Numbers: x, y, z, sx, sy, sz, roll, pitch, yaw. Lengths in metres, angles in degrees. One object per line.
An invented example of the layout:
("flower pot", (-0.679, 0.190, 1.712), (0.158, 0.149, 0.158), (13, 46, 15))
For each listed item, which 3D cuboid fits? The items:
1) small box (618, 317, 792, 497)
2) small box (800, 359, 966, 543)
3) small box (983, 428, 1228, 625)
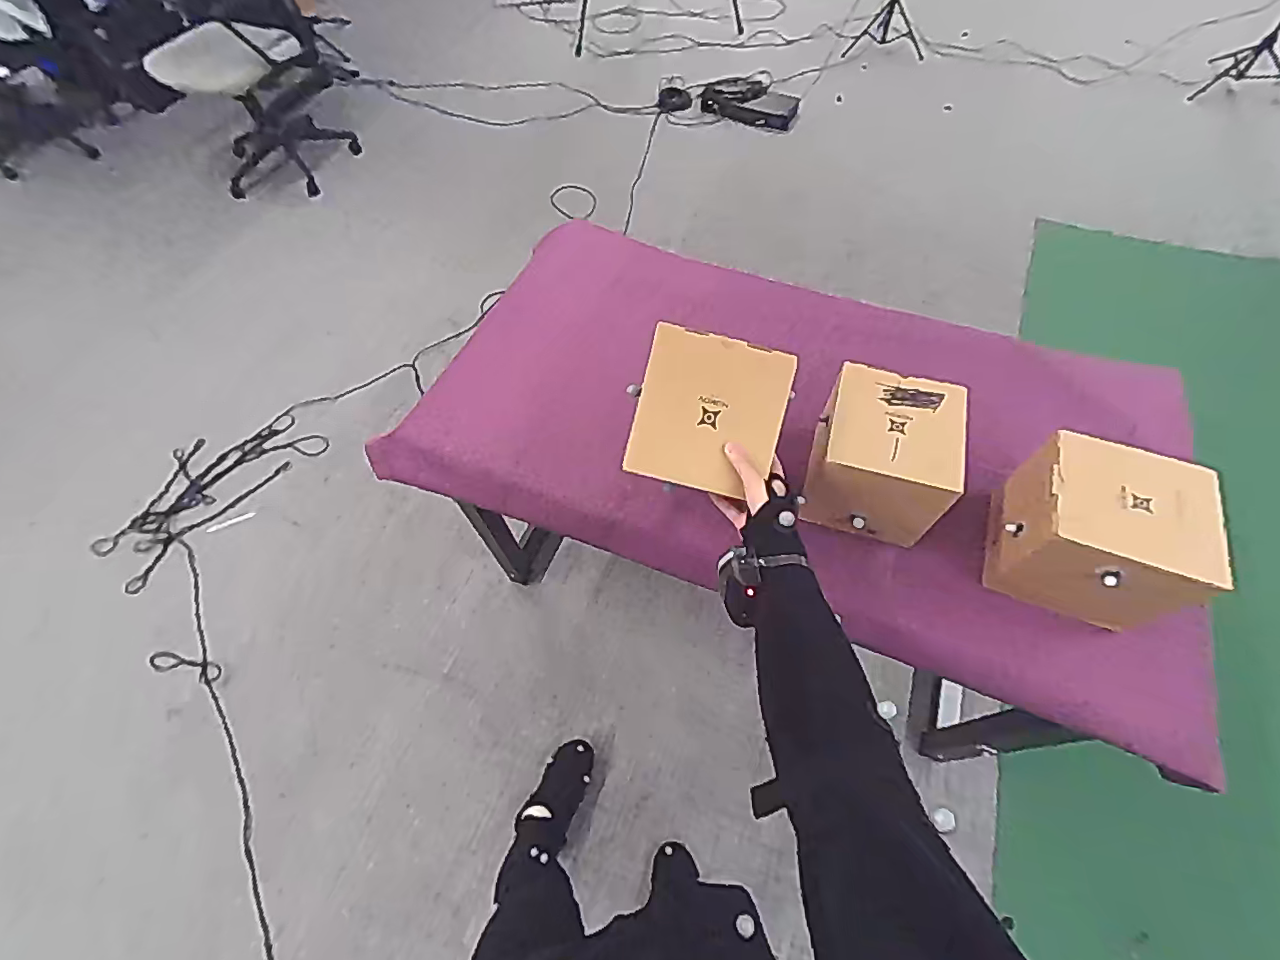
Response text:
("small box", (0.075, -0.083, 0.695), (0.168, 0.176, 0.179), (14, 90, -1))
("small box", (0.336, -0.037, 0.770), (0.168, 0.176, 0.179), (15, 62, 11))
("small box", (0.578, 0.066, 0.698), (0.179, 0.176, 0.168), (20, 61, 14))
